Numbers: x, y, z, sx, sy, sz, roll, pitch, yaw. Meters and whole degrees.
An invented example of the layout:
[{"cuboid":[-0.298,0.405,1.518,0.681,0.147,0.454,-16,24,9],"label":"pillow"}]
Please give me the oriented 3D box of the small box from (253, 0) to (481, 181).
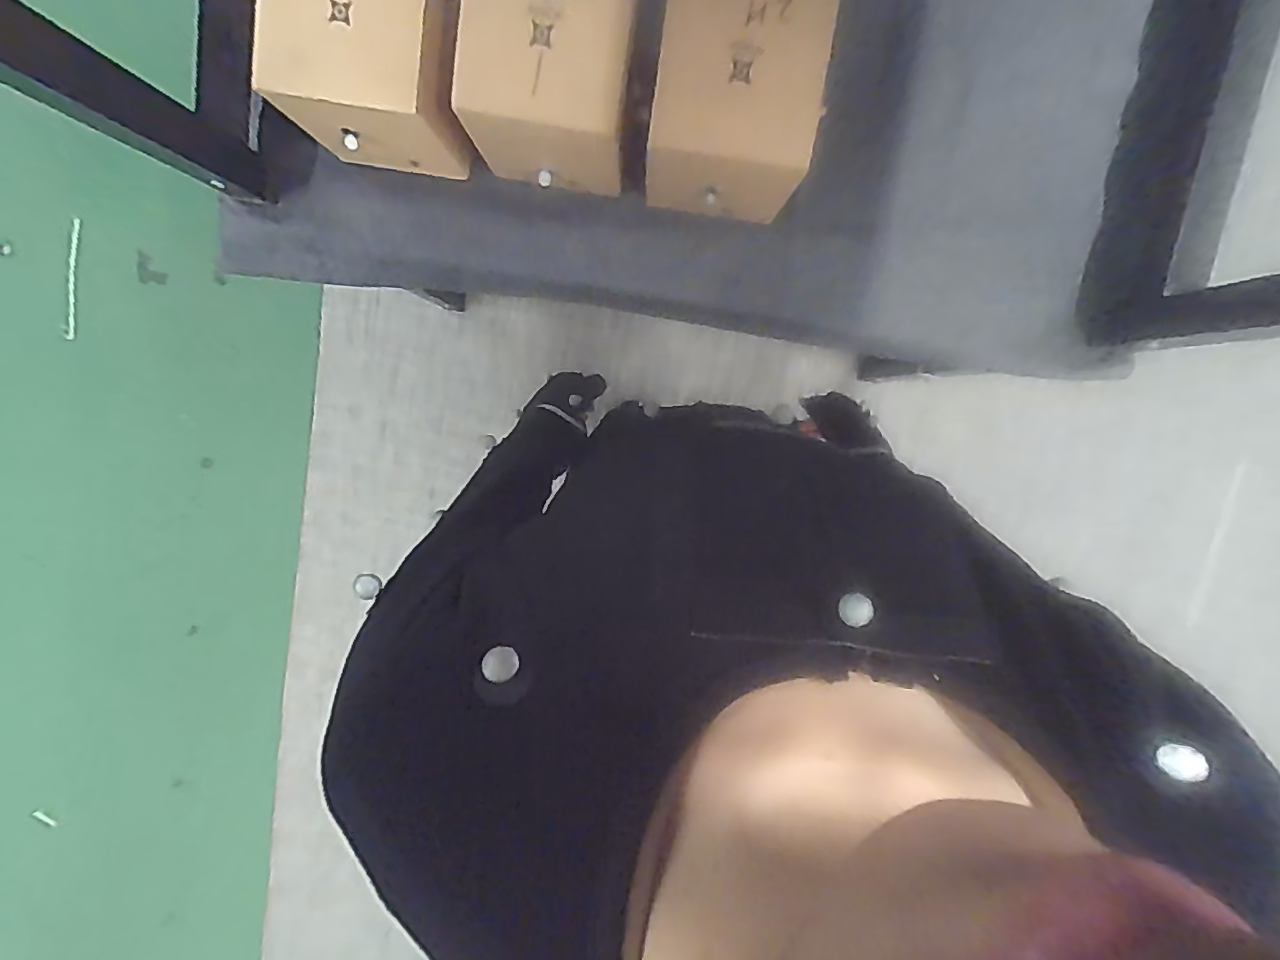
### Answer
[{"cuboid":[-0.288,-0.464,0.602,0.168,0.176,0.179,8,97,-1],"label":"small box"}]
